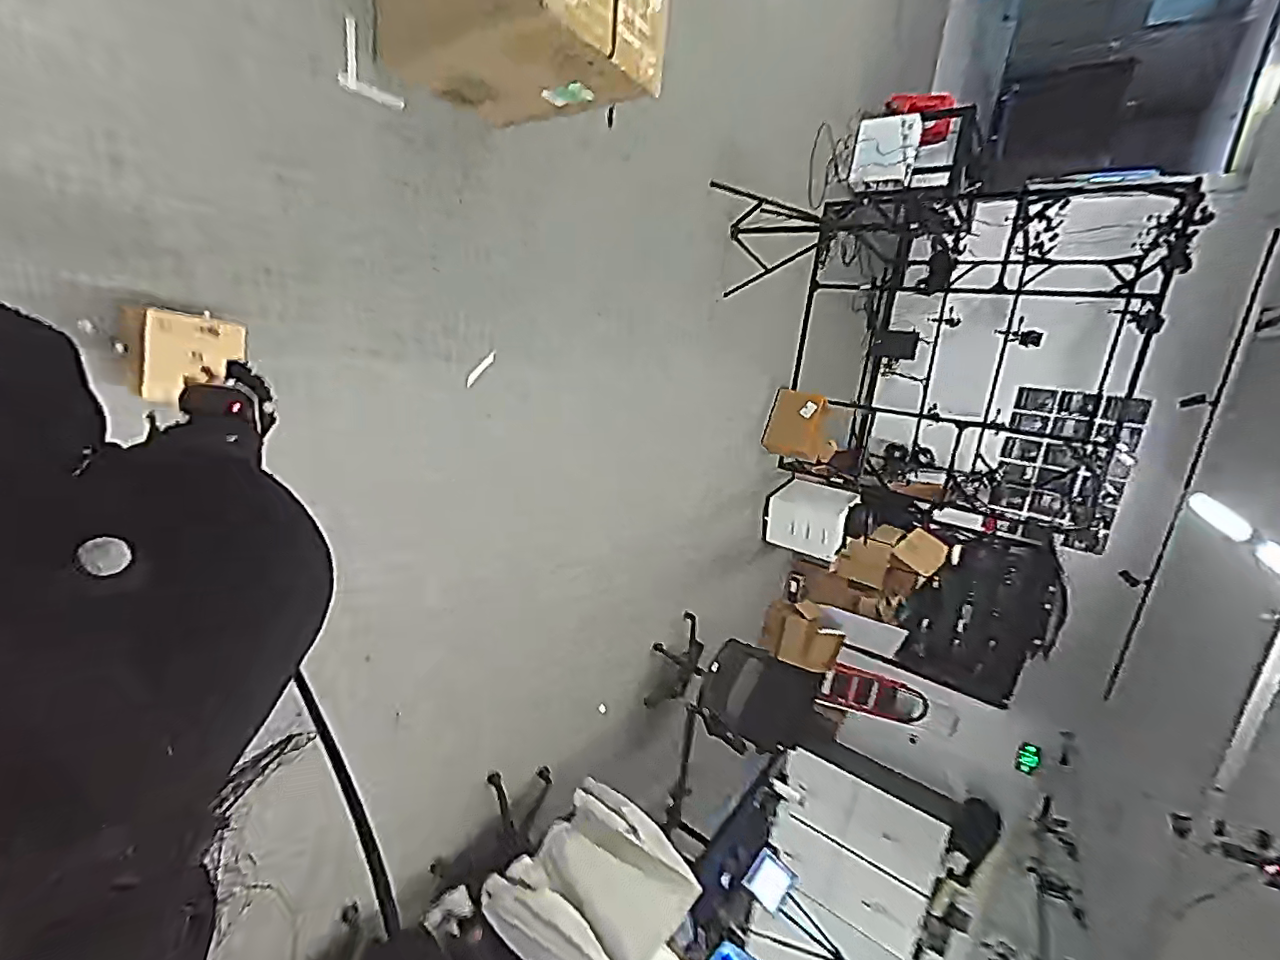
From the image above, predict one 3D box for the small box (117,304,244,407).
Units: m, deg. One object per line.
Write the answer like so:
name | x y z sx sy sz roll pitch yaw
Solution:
small box | -0.975 -0.262 1.145 0.168 0.176 0.179 -1 104 -56
